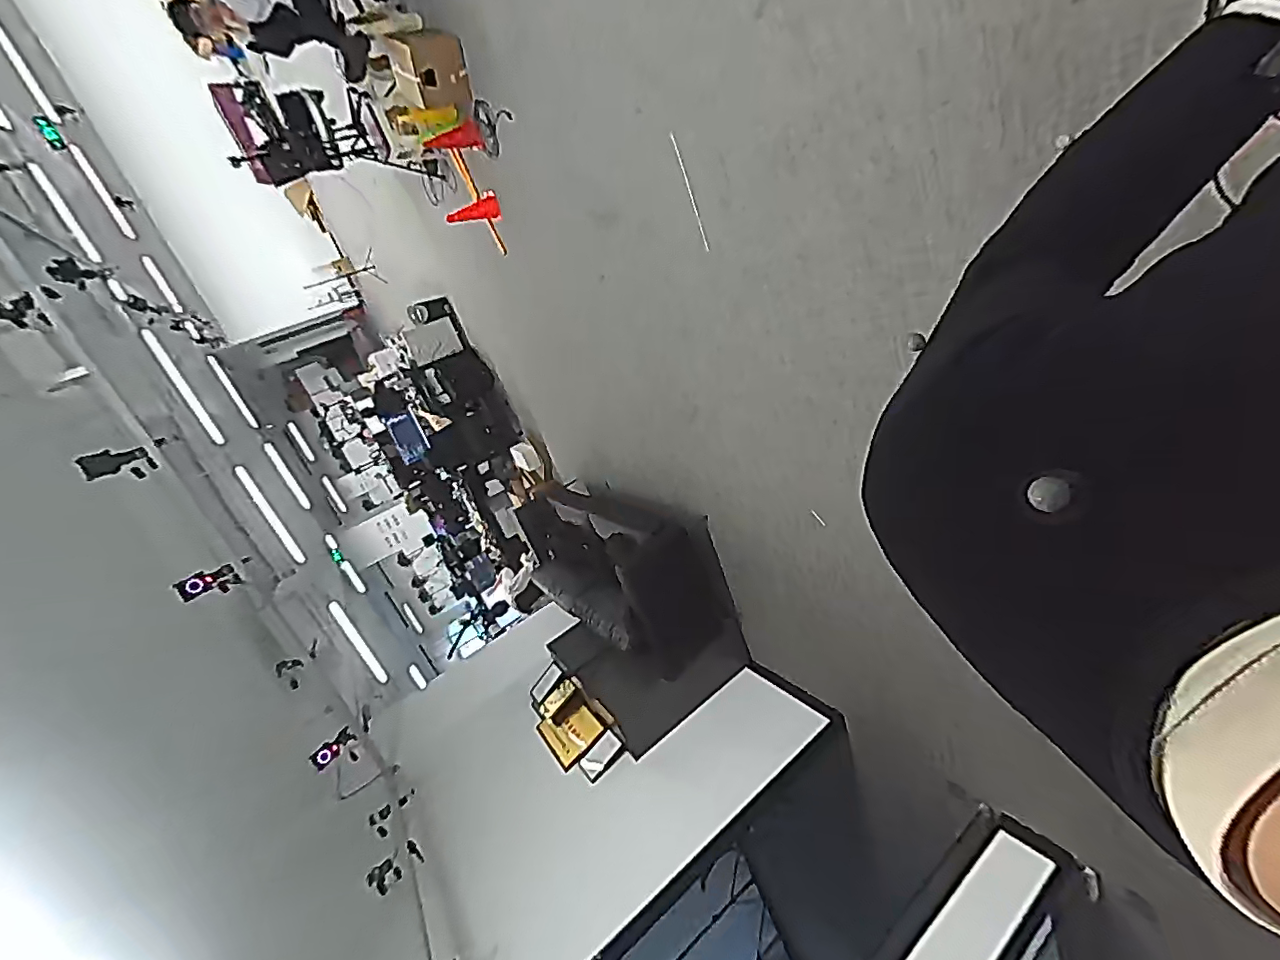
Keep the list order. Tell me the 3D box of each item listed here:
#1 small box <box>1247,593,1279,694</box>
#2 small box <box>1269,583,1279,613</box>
[{"bbox_3d":[1.393,0.343,1.099,0.168,0.176,0.179,21,135,54],"label":"small box"},{"bbox_3d":[1.521,0.270,1.171,0.179,0.176,0.168,22,136,54],"label":"small box"}]
